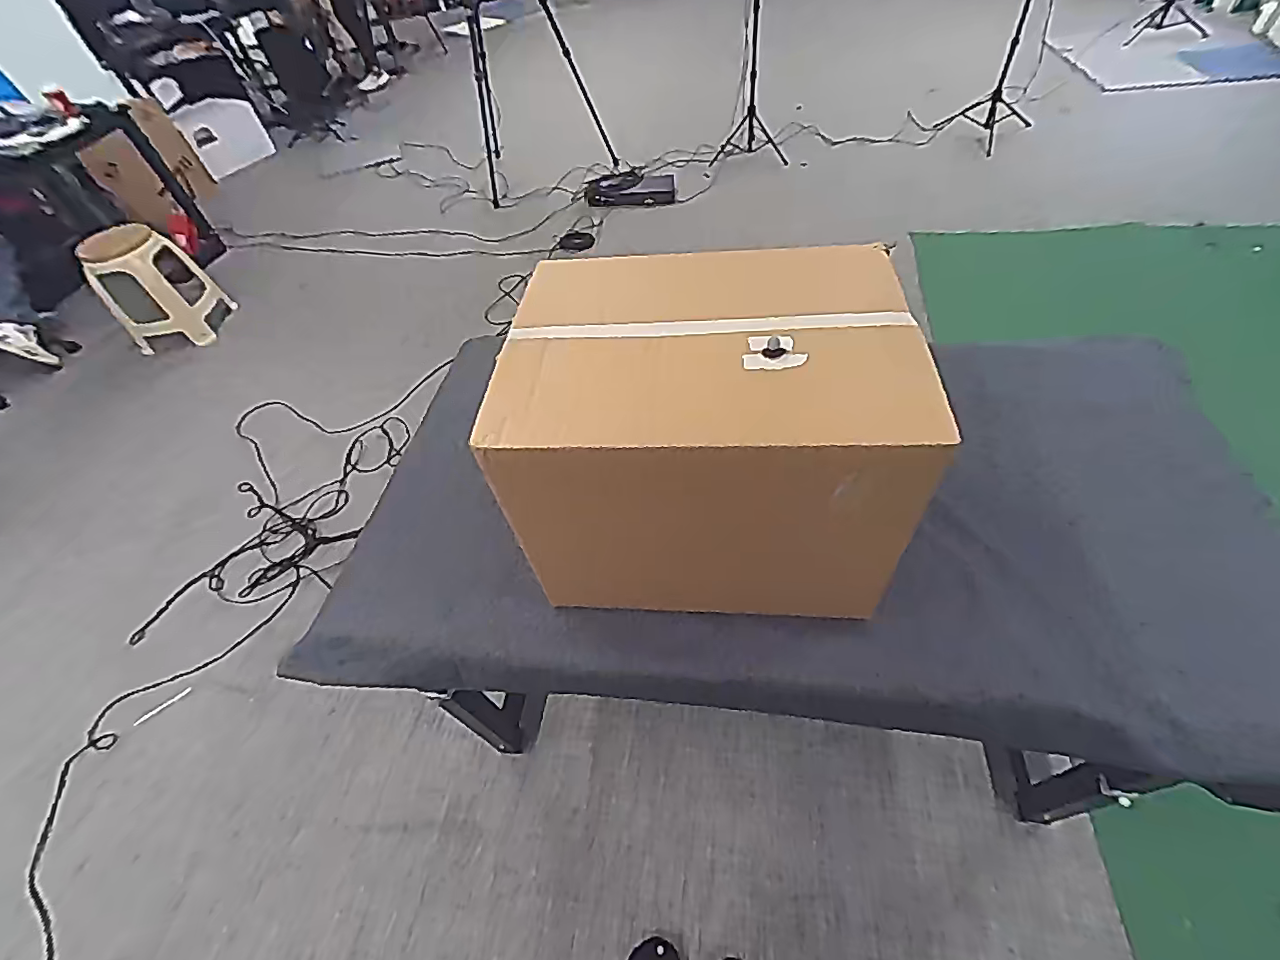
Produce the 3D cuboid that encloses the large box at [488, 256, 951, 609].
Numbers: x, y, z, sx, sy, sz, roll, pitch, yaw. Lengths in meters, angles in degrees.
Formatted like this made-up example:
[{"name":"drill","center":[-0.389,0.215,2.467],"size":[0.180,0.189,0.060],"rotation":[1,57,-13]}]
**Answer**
[{"name":"large box","center":[0.080,-0.049,0.667],"size":[0.408,0.320,0.320],"rotation":[1,52,7]}]
